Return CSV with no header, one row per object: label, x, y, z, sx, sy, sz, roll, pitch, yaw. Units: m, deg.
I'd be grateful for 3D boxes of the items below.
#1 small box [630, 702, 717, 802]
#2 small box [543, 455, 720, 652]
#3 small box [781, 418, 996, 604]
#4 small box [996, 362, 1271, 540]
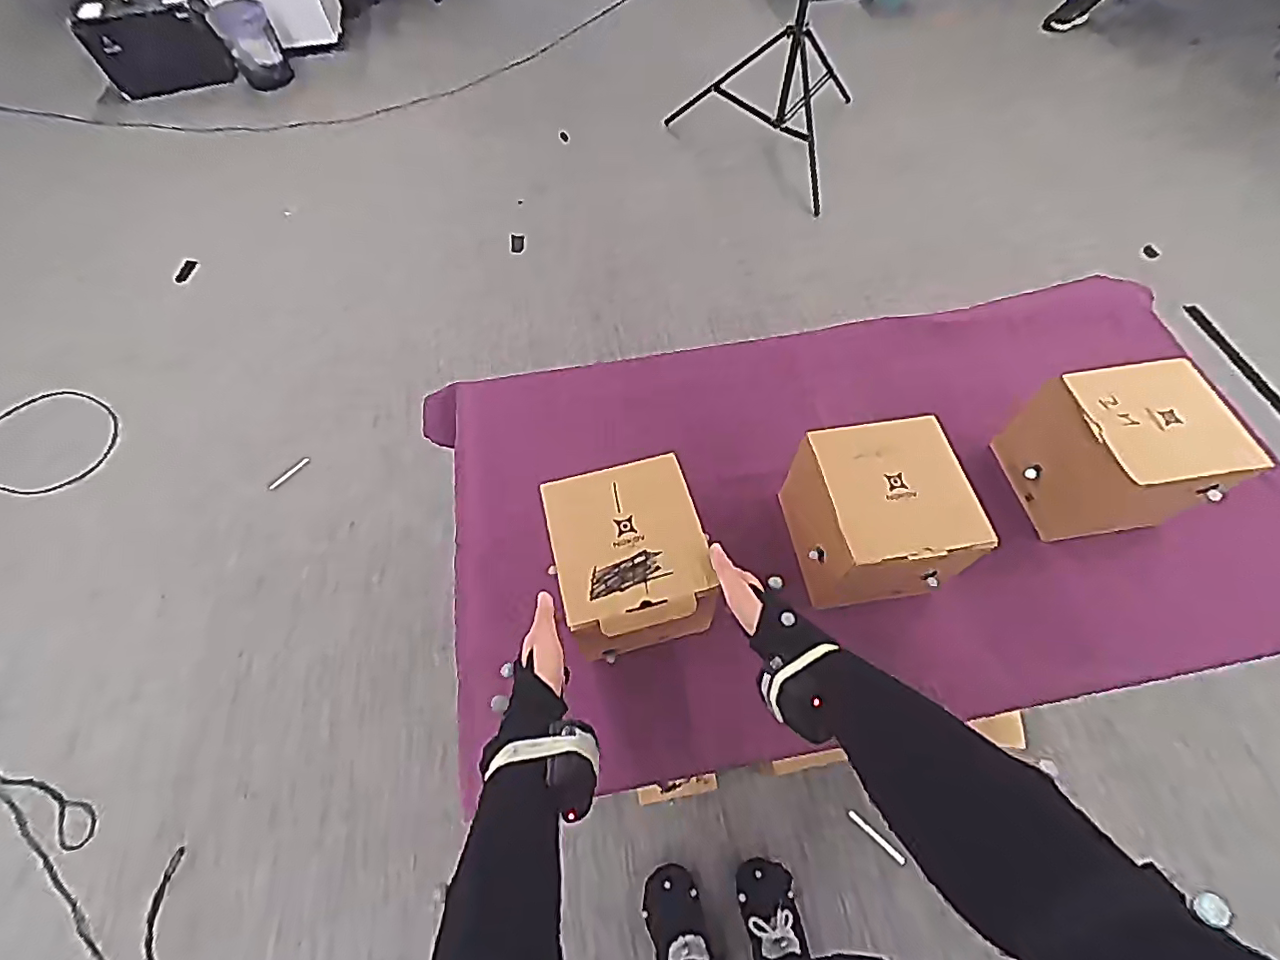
small box,0.068,0.613,1.215,0.168,0.176,0.179,-7,60,-3
small box,-0.011,0.099,0.663,0.168,0.176,0.179,-14,60,-7
small box,0.295,0.048,0.688,0.168,0.176,0.179,-8,60,-4
small box,0.633,-0.033,0.724,0.179,0.176,0.168,-8,61,-3
